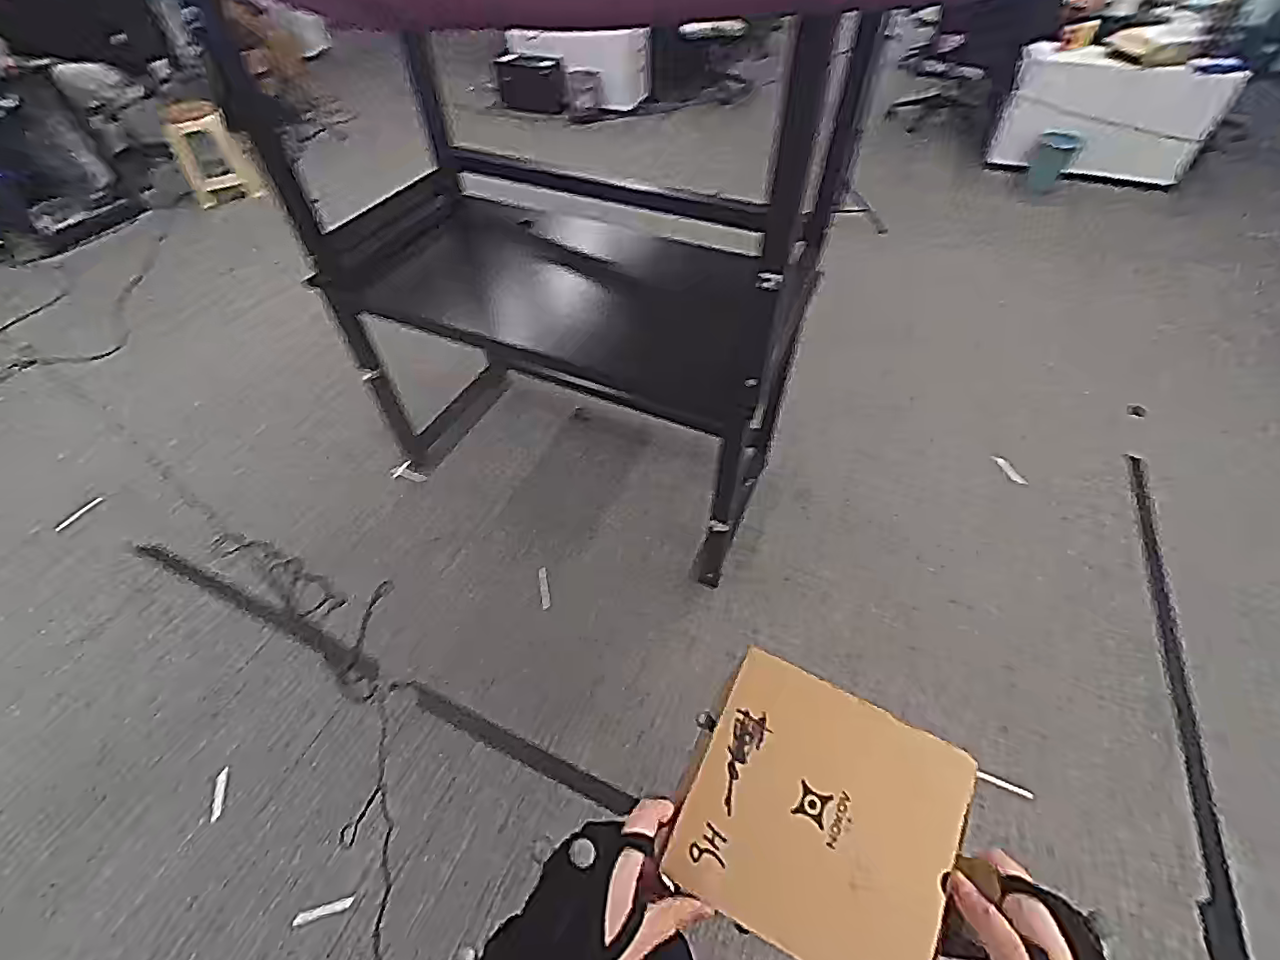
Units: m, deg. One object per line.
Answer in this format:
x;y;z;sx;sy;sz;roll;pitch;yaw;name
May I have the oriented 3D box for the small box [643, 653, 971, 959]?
0.115;0.263;0.426;0.179;0.176;0.168;24;64;13;small box
